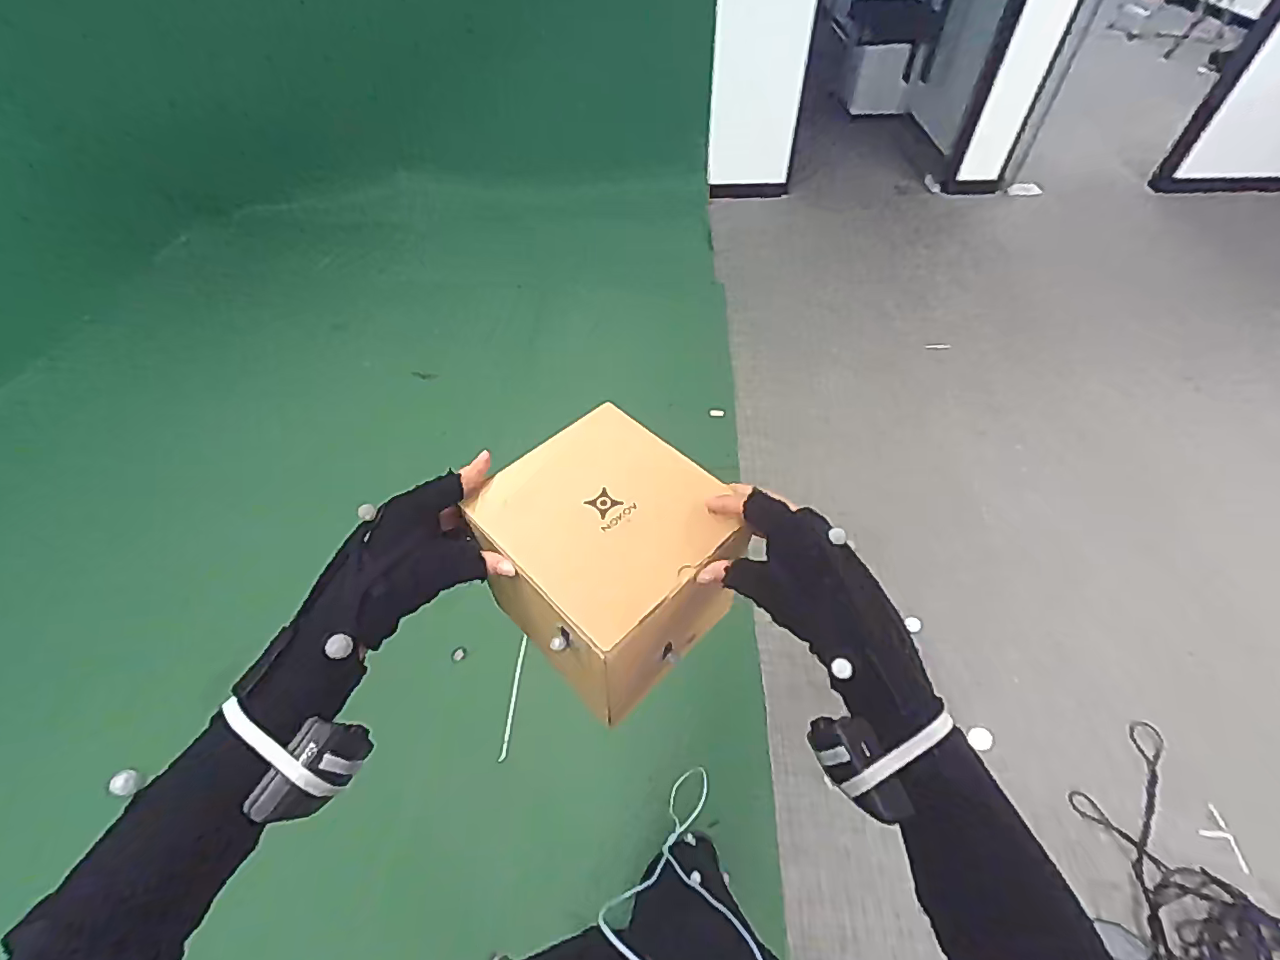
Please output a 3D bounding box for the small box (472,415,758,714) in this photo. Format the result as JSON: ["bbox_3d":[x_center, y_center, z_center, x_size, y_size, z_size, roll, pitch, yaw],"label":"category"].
[{"bbox_3d":[-0.025,0.078,0.496,0.168,0.176,0.179,-36,61,-27],"label":"small box"}]
